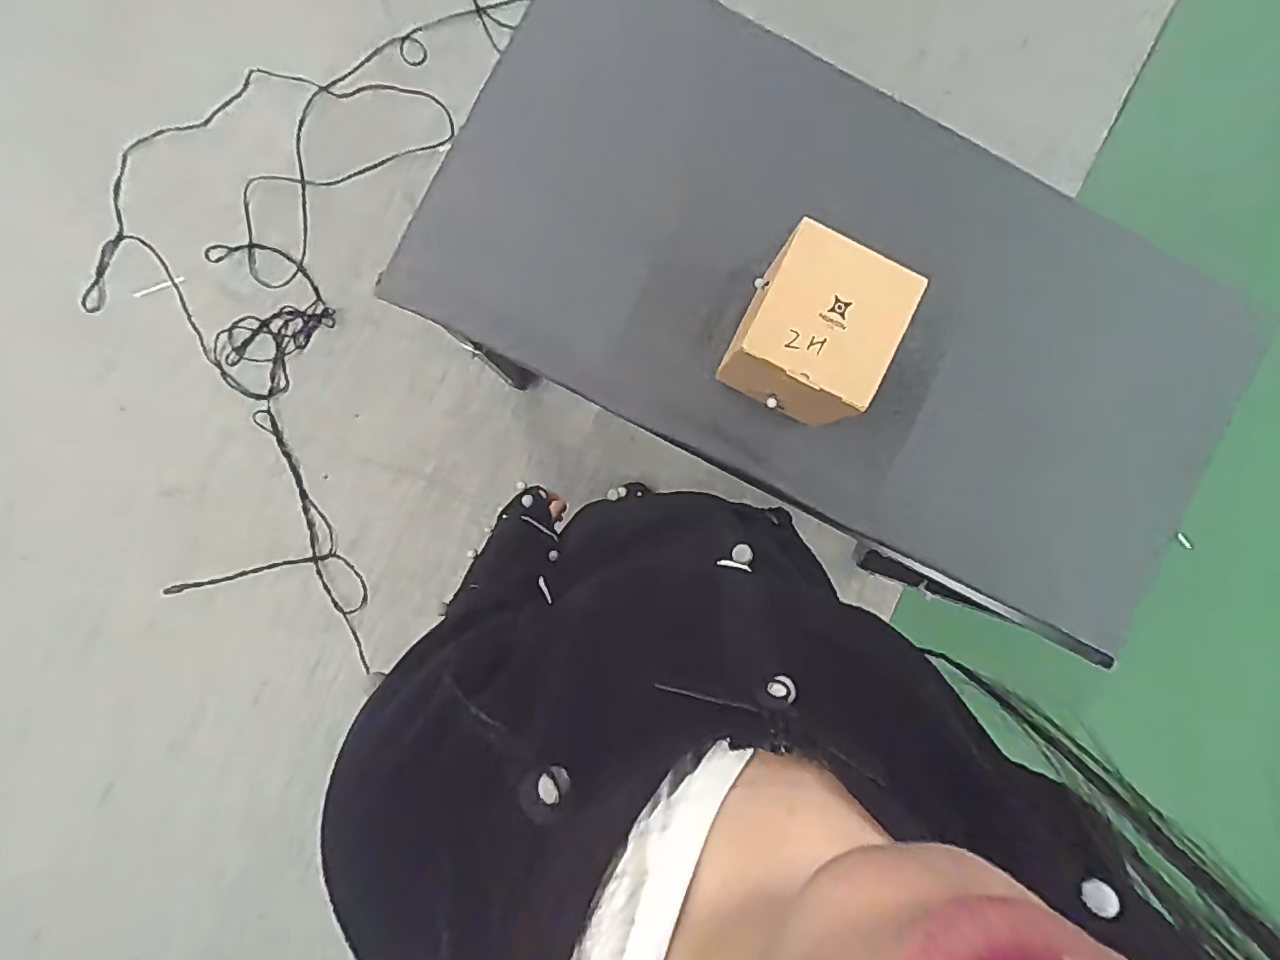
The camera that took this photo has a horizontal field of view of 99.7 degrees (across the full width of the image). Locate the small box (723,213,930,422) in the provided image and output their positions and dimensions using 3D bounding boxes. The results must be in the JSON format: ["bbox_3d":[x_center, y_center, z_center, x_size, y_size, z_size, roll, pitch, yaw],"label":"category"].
[{"bbox_3d":[0.222,-0.193,0.696,0.168,0.176,0.179,26,88,-1],"label":"small box"}]
